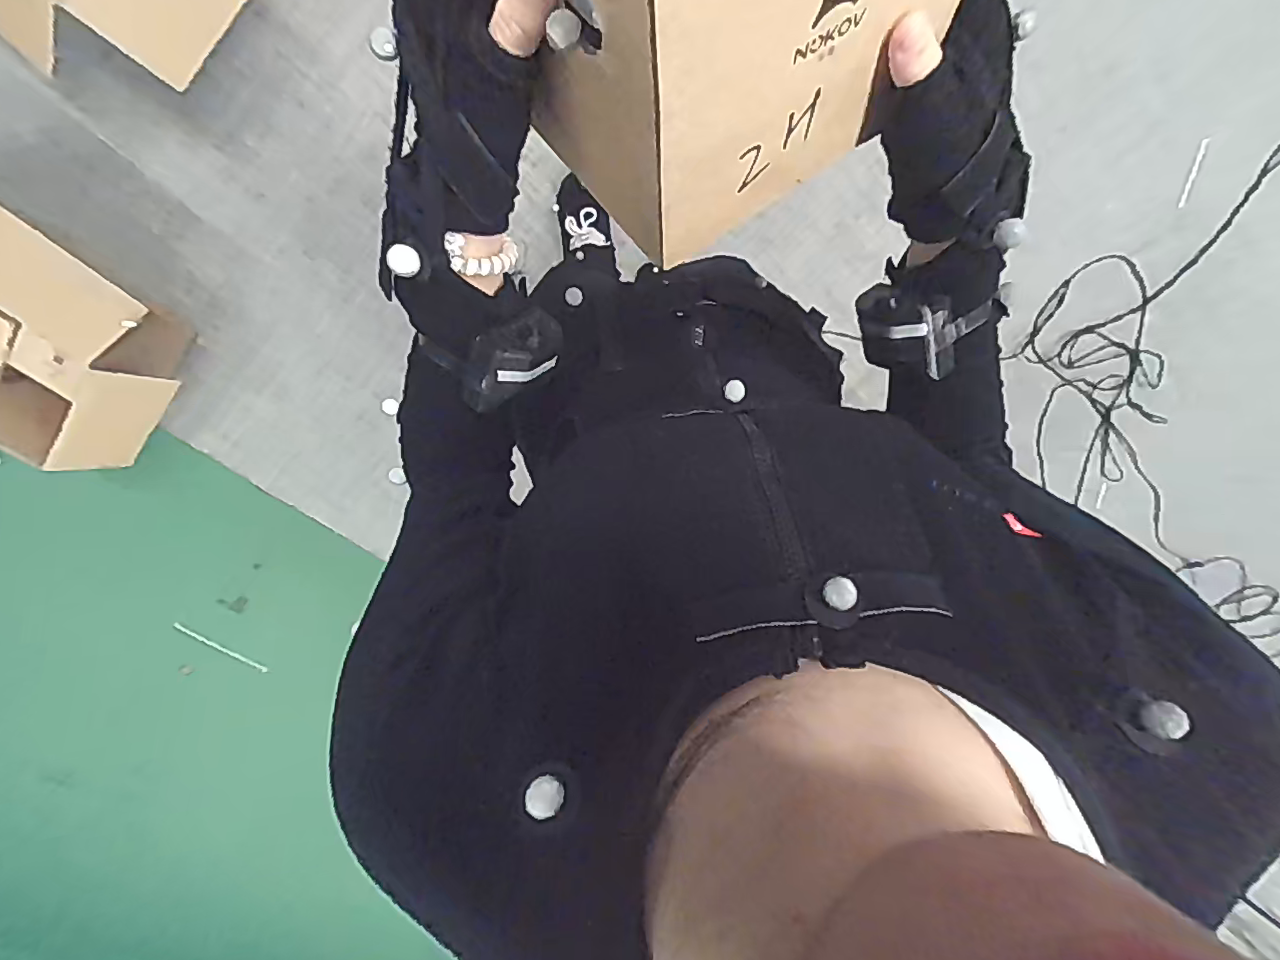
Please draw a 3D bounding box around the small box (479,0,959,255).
[{"bbox_3d":[0.026,-0.243,0.221,0.168,0.179,0.176,-34,73,-7],"label":"small box"}]
